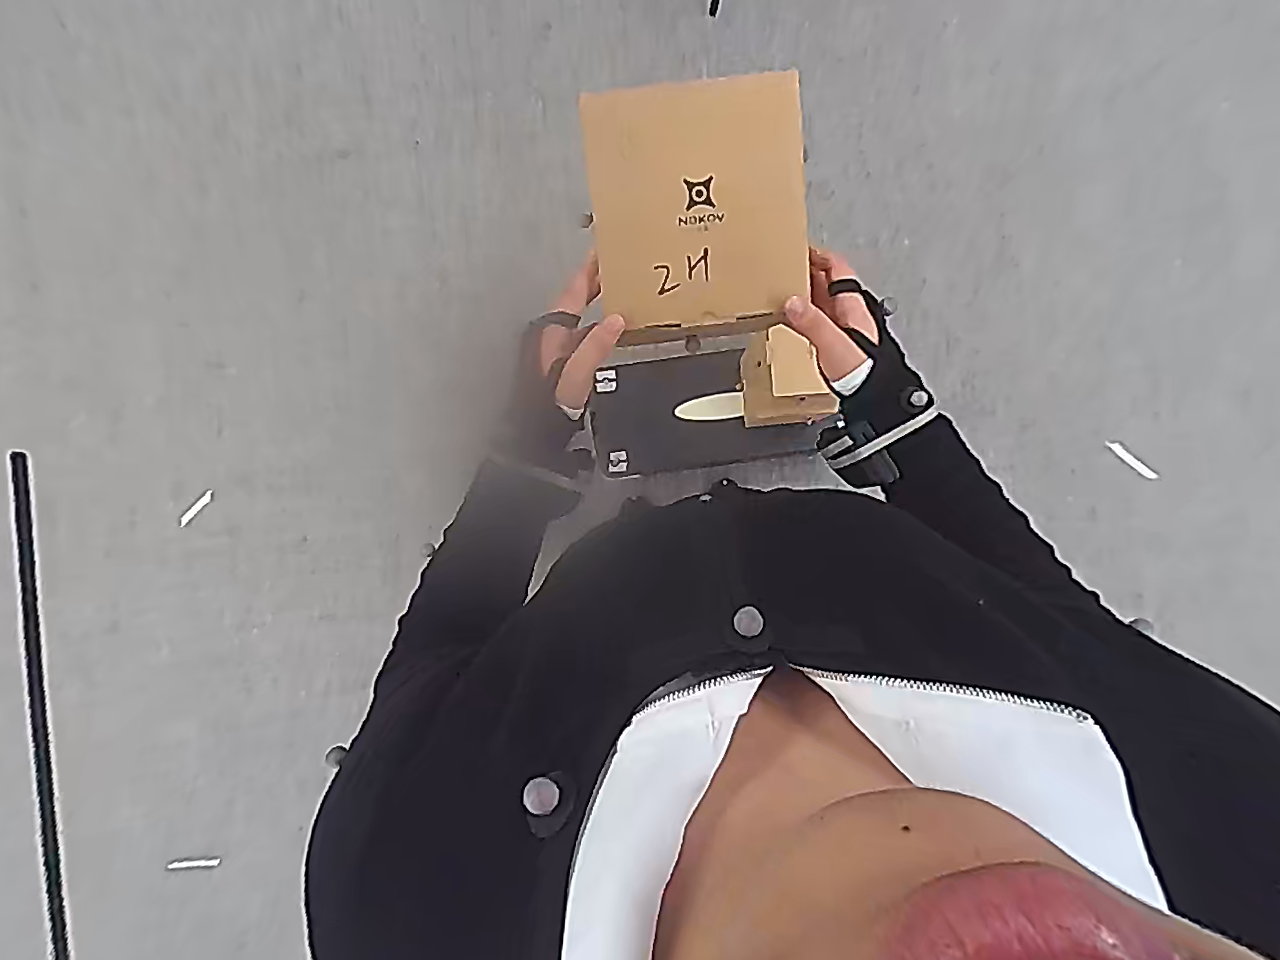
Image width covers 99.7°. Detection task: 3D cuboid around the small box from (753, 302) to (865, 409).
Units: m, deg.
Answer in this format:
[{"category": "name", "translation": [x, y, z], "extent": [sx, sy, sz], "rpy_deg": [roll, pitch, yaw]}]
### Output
[{"category": "small box", "translation": [0.321, -0.236, 1.061], "extent": [0.179, 0.176, 0.168], "rpy_deg": [-4, 89, 3]}]

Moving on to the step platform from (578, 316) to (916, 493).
[{"category": "step platform", "translation": [0.216, -0.152, 1.191], "extent": [0.684, 0.204, 0.286], "rpy_deg": [-8, 89, 1]}]

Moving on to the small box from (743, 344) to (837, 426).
[{"category": "small box", "translation": [0.327, -0.215, 1.225], "extent": [0.179, 0.176, 0.168], "rpy_deg": [-6, 89, 3]}]
